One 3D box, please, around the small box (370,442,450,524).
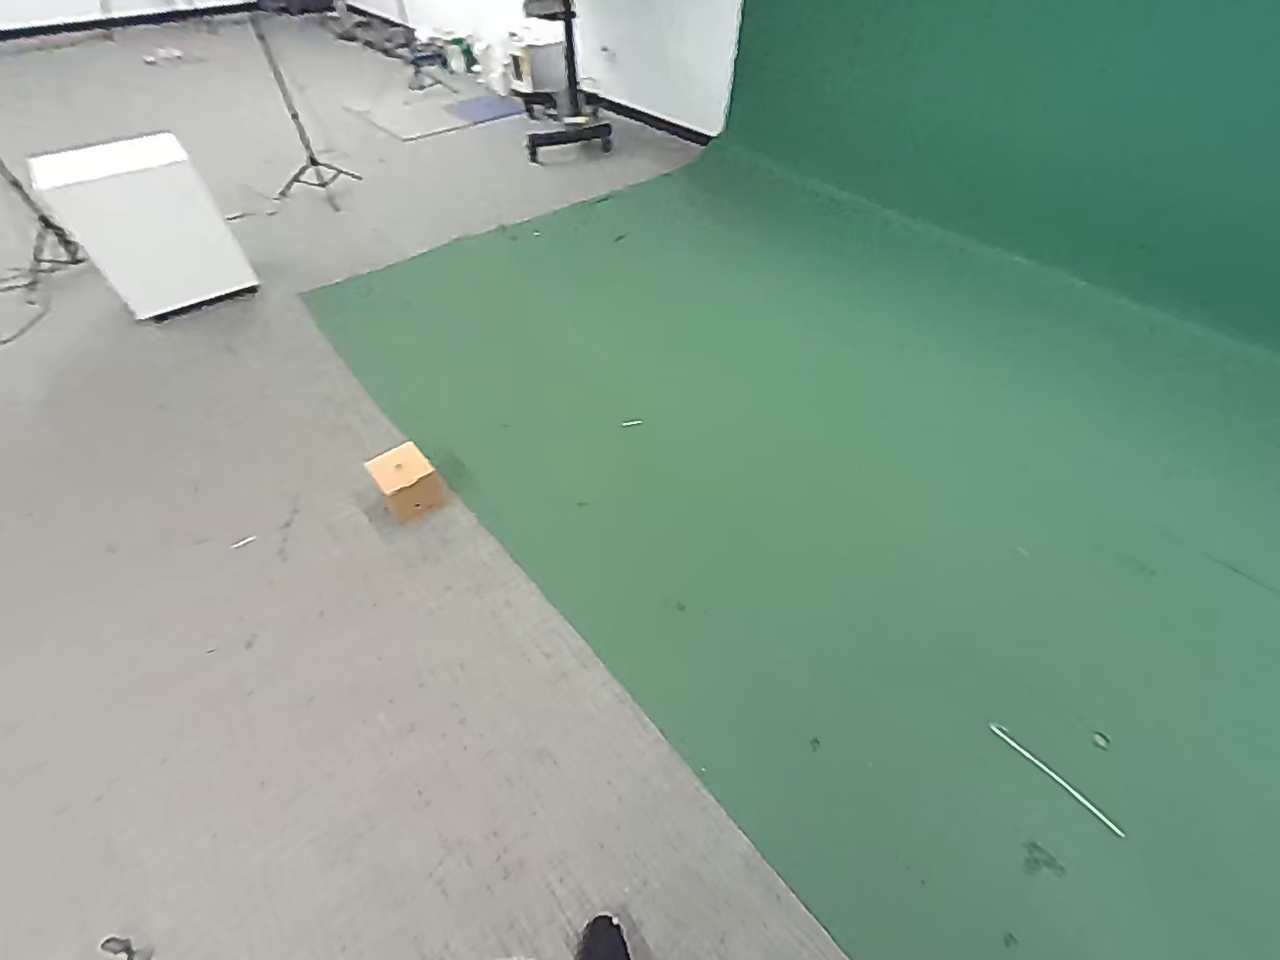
[{"bbox_3d":[-0.764,0.012,1.806,0.168,0.176,0.179,-33,58,-26],"label":"small box"}]
